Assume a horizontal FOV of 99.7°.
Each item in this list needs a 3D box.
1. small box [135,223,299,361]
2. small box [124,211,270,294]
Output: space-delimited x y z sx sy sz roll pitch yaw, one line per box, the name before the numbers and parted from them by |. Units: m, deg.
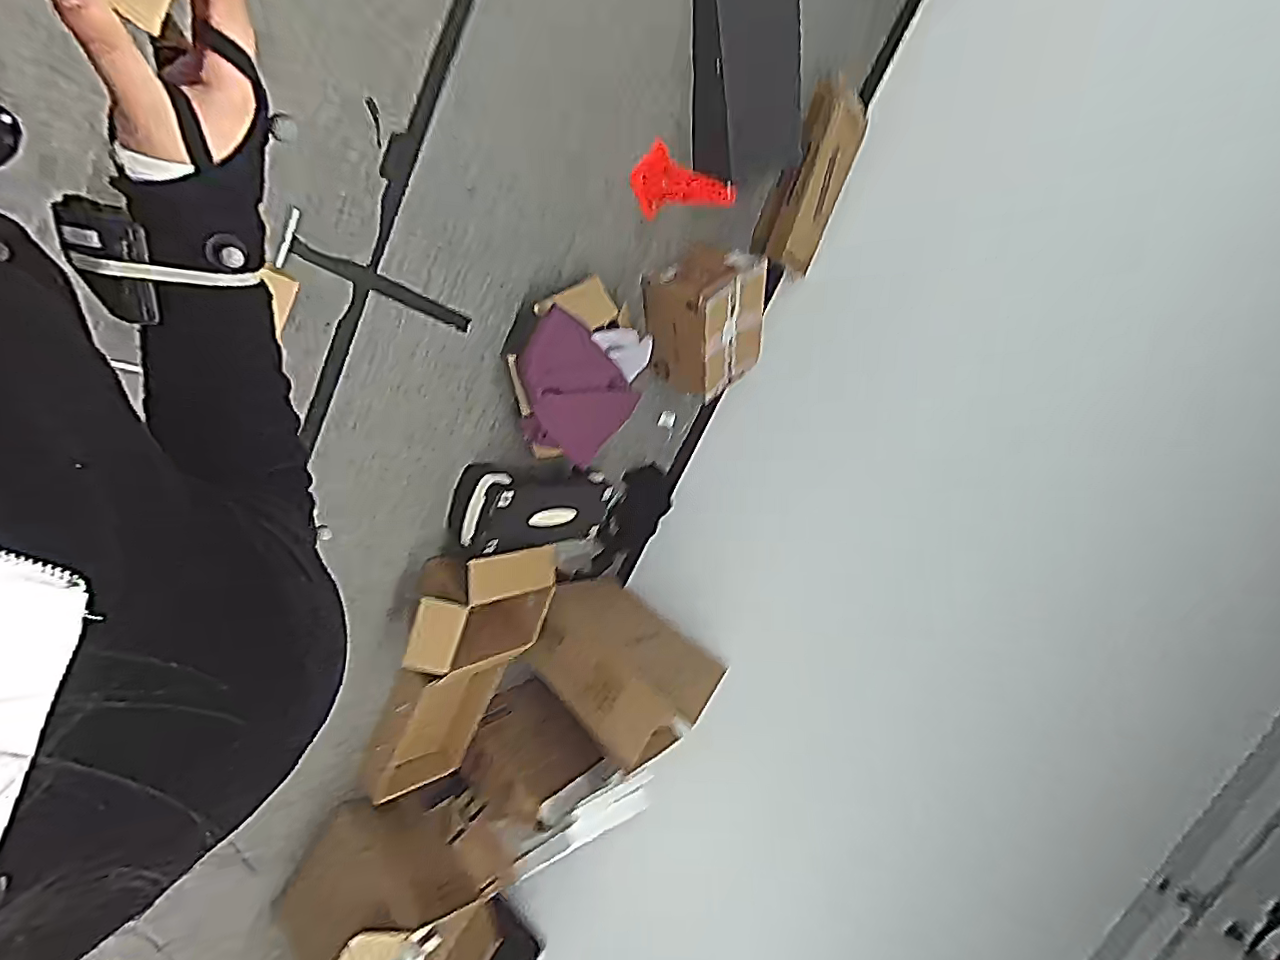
small box | -0.782 -0.348 1.002 0.179 0.176 0.168 16 104 -57
small box | -0.899 -0.420 1.095 0.179 0.176 0.168 13 106 -56
